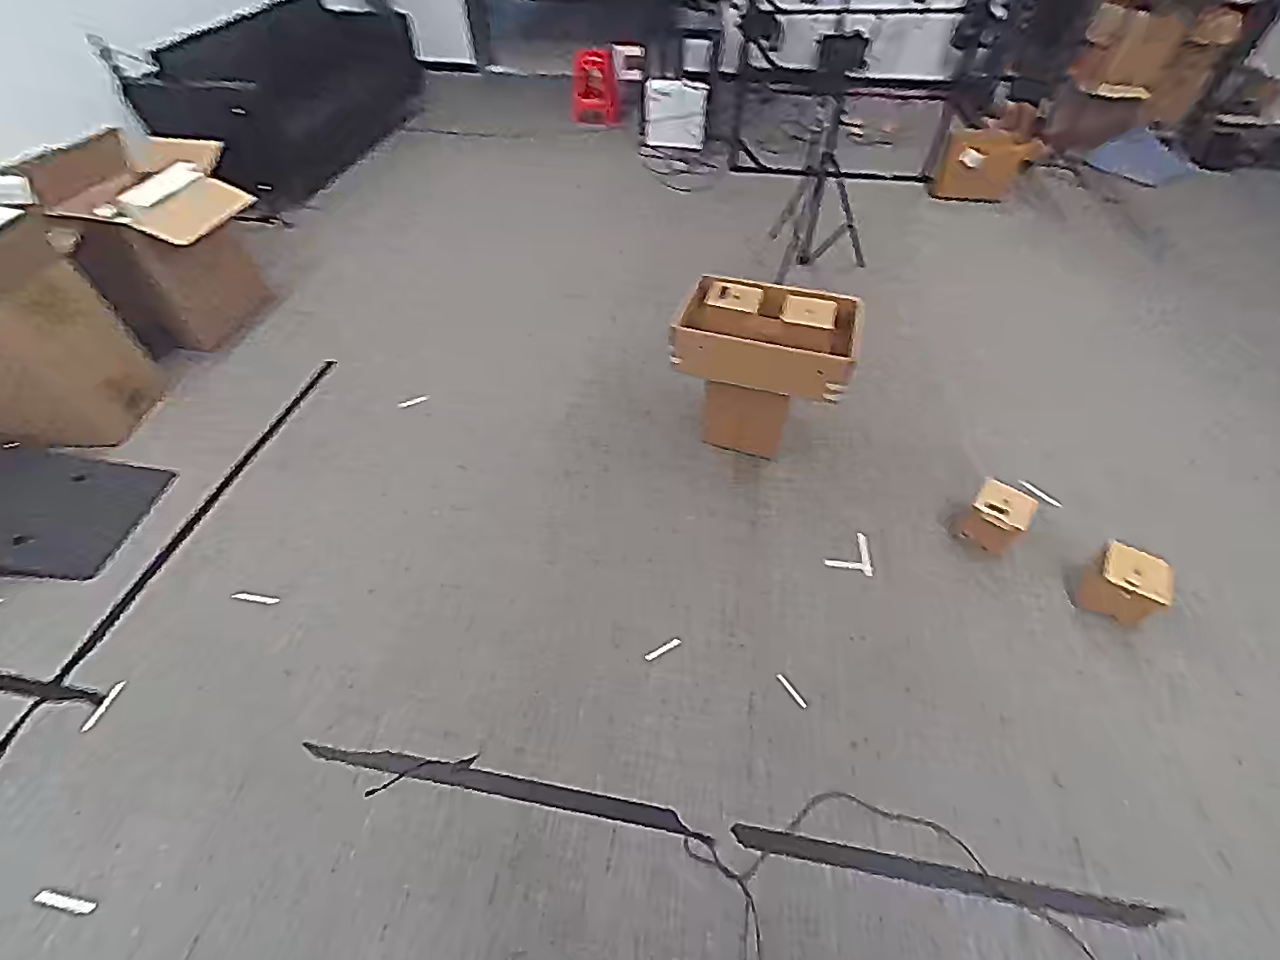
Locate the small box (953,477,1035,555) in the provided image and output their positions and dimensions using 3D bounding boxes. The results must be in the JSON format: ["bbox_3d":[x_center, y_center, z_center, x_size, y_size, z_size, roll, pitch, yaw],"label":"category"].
[{"bbox_3d":[1.233,0.129,1.898,0.168,0.176,0.179,33,57,25],"label":"small box"}]

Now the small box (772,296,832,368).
[{"bbox_3d":[0.572,-0.525,1.918,0.168,0.176,0.179,13,49,13],"label":"small box"}]

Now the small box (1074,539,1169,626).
[{"bbox_3d":[1.528,0.328,1.722,0.168,0.176,0.179,26,53,22],"label":"small box"}]
